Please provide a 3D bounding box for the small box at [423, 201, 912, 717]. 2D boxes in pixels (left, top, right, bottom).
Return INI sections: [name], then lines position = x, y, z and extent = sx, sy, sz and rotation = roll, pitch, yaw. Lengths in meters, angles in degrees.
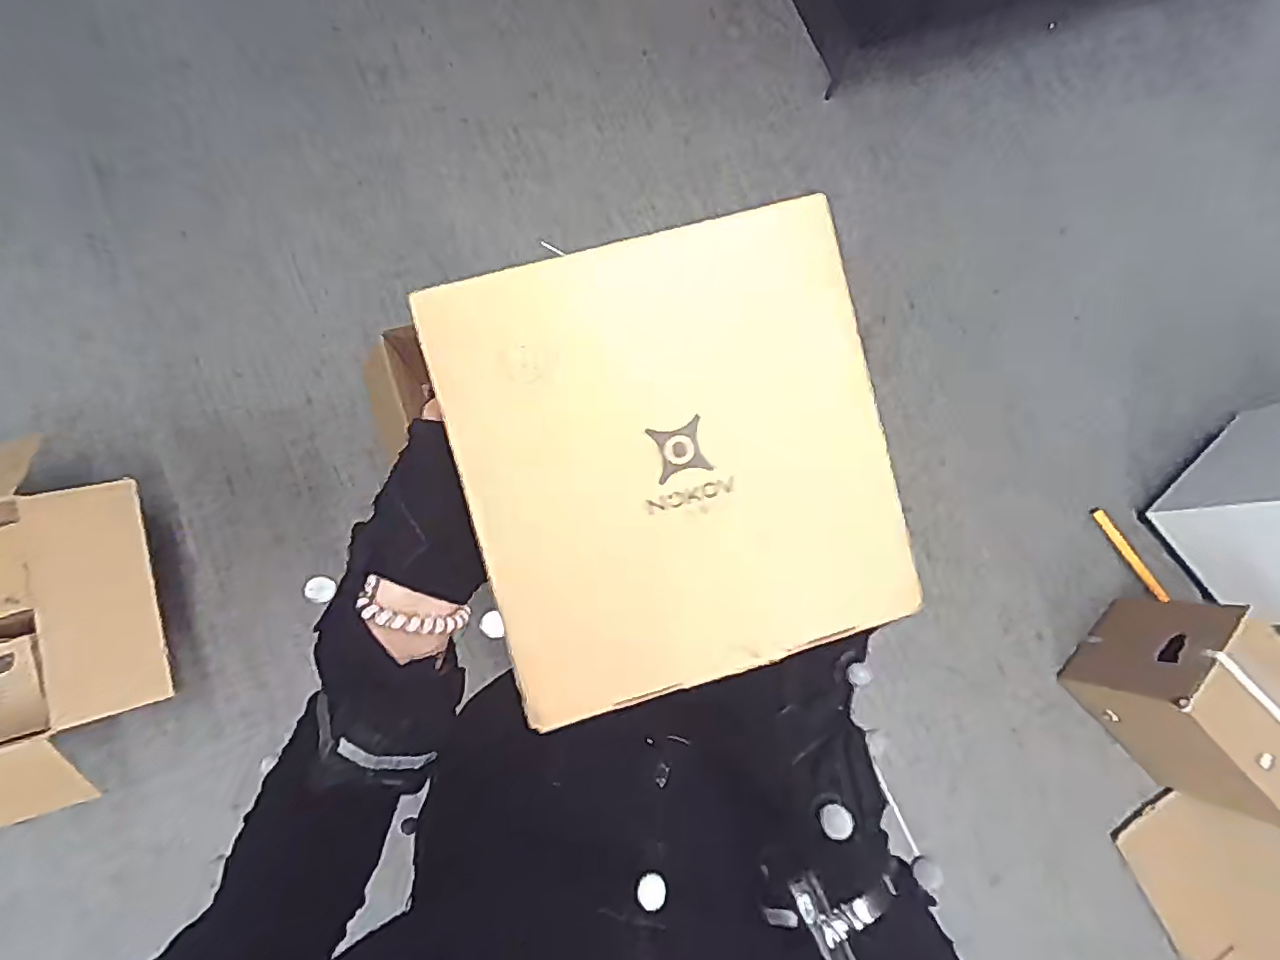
[small box]
position = 0.006, -0.012, 0.294
extent = 0.168, 0.176, 0.179
rotation = -16, 94, -6
